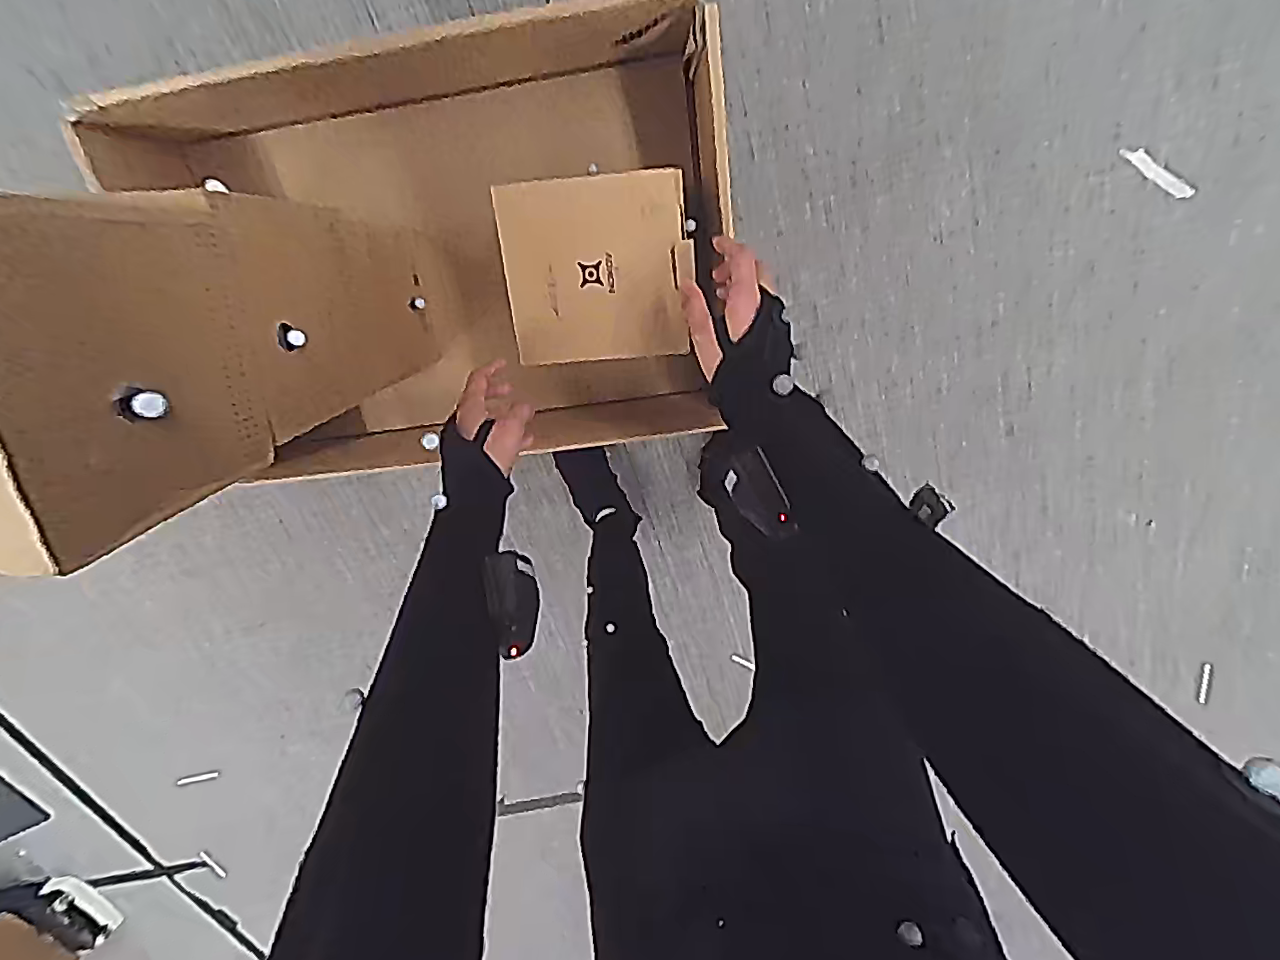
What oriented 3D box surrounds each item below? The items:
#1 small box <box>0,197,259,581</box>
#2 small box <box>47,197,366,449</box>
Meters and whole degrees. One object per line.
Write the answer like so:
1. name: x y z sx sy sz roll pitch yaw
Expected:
1. small box: -0.363 -0.065 0.310 0.168 0.176 0.179 3 114 0
2. small box: -0.362 -0.136 0.459 0.168 0.176 0.179 0 113 2
